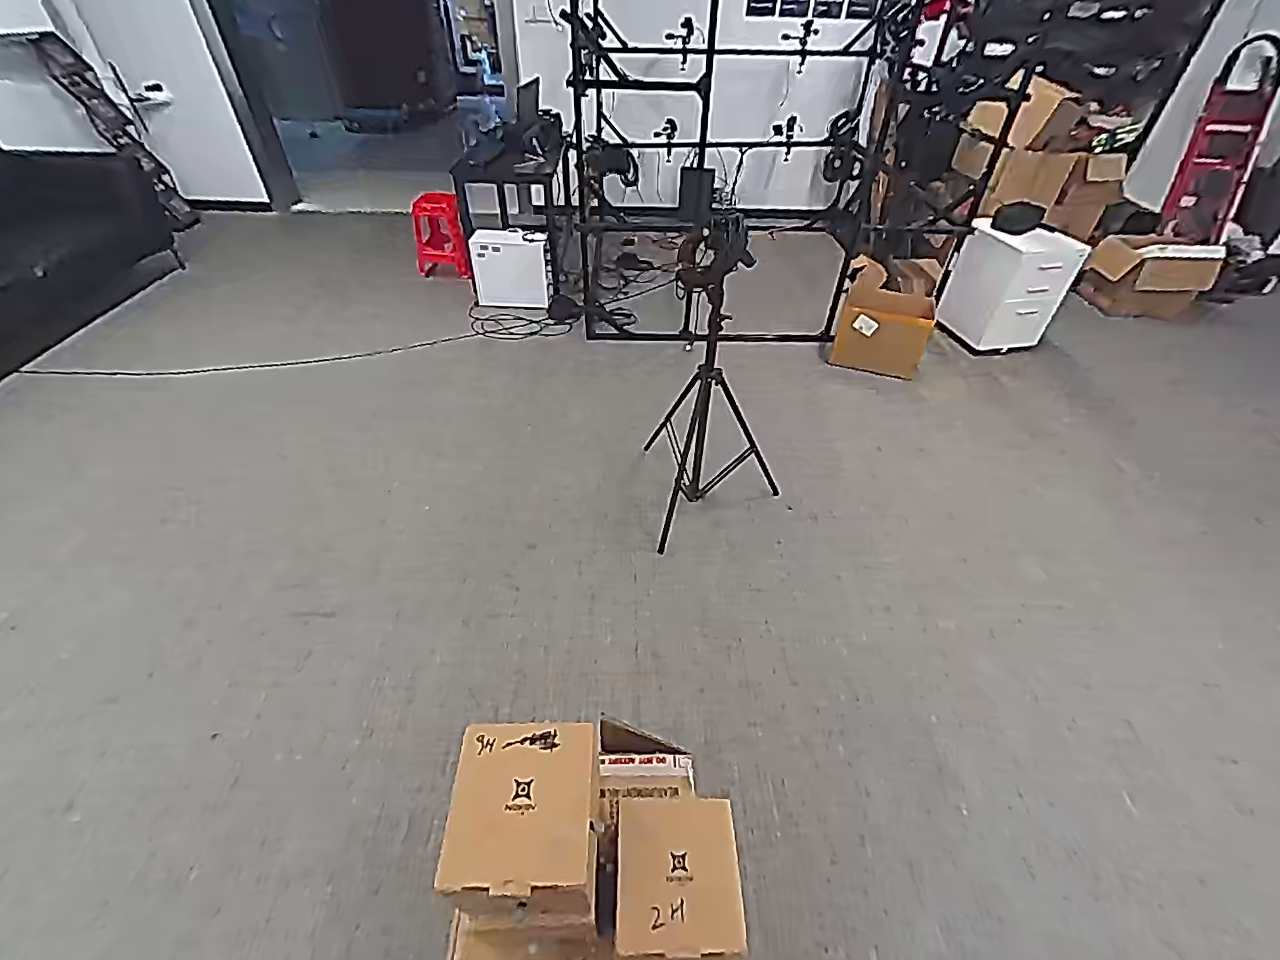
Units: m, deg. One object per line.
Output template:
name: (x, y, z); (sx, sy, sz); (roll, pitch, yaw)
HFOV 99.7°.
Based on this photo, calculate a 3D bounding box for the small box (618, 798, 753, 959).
small box: (0.054, 0.583, 0.780); (0.168, 0.176, 0.179); (1, 44, -3)

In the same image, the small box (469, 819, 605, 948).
small box: (-0.139, 0.562, 0.796); (0.168, 0.176, 0.179); (-2, 45, -2)

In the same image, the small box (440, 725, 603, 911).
small box: (-0.134, 0.435, 0.691); (0.168, 0.176, 0.179); (-1, 45, -1)
